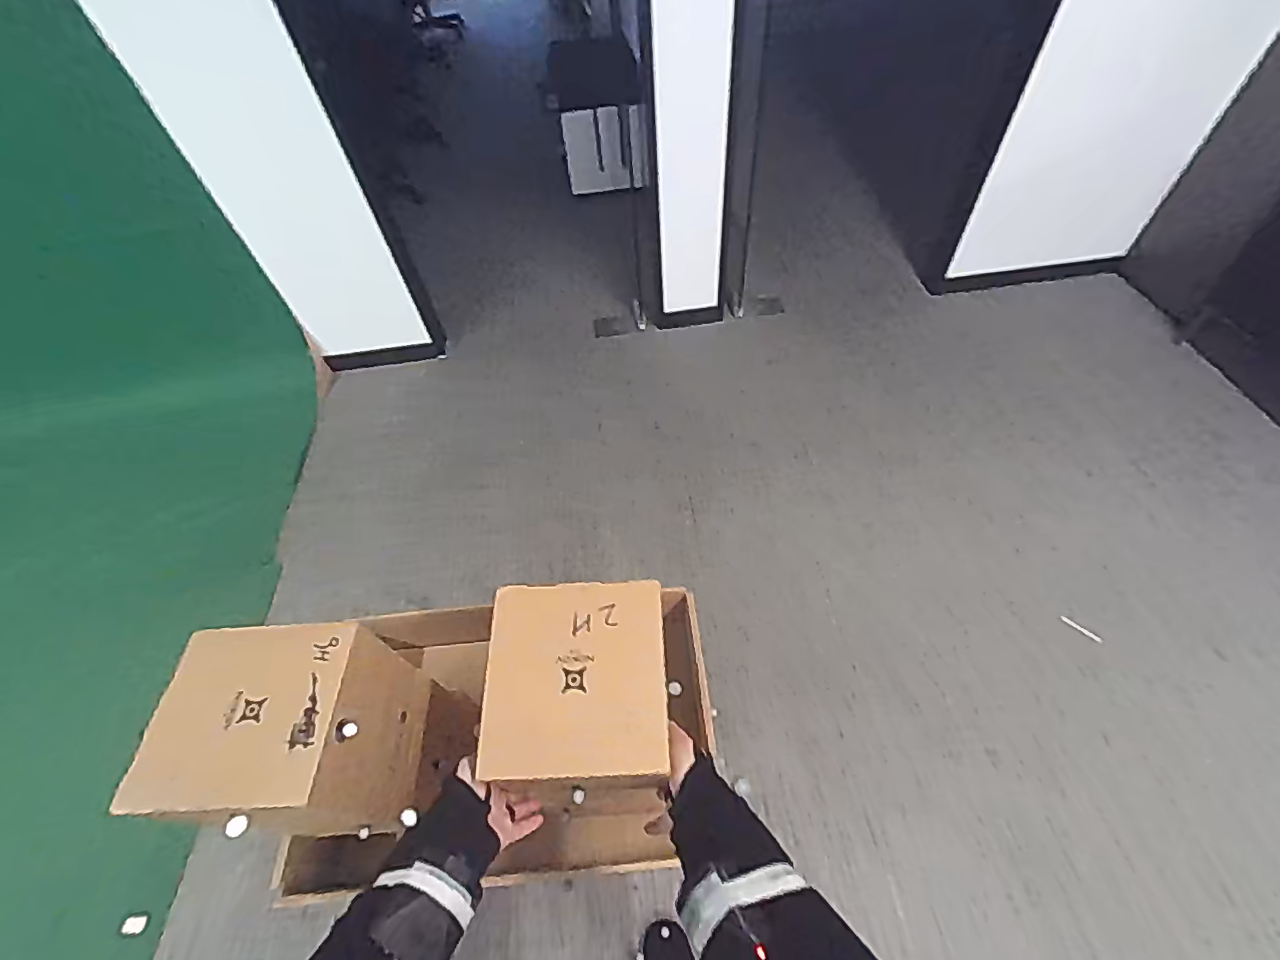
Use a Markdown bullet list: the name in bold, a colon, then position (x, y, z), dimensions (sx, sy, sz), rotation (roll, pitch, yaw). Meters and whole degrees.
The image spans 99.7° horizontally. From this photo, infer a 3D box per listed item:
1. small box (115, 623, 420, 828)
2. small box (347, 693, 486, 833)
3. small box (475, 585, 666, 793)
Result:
- **small box**: position (-0.365, 0.265, 0.574), dimensions (0.179, 0.176, 0.168), rotation (-3, 53, 2)
- **small box**: position (-0.347, 0.446, 0.846), dimensions (0.179, 0.176, 0.168), rotation (-4, 53, 1)
- **small box**: position (-0.057, 0.223, 0.562), dimensions (0.168, 0.176, 0.179), rotation (-1, 56, 0)
